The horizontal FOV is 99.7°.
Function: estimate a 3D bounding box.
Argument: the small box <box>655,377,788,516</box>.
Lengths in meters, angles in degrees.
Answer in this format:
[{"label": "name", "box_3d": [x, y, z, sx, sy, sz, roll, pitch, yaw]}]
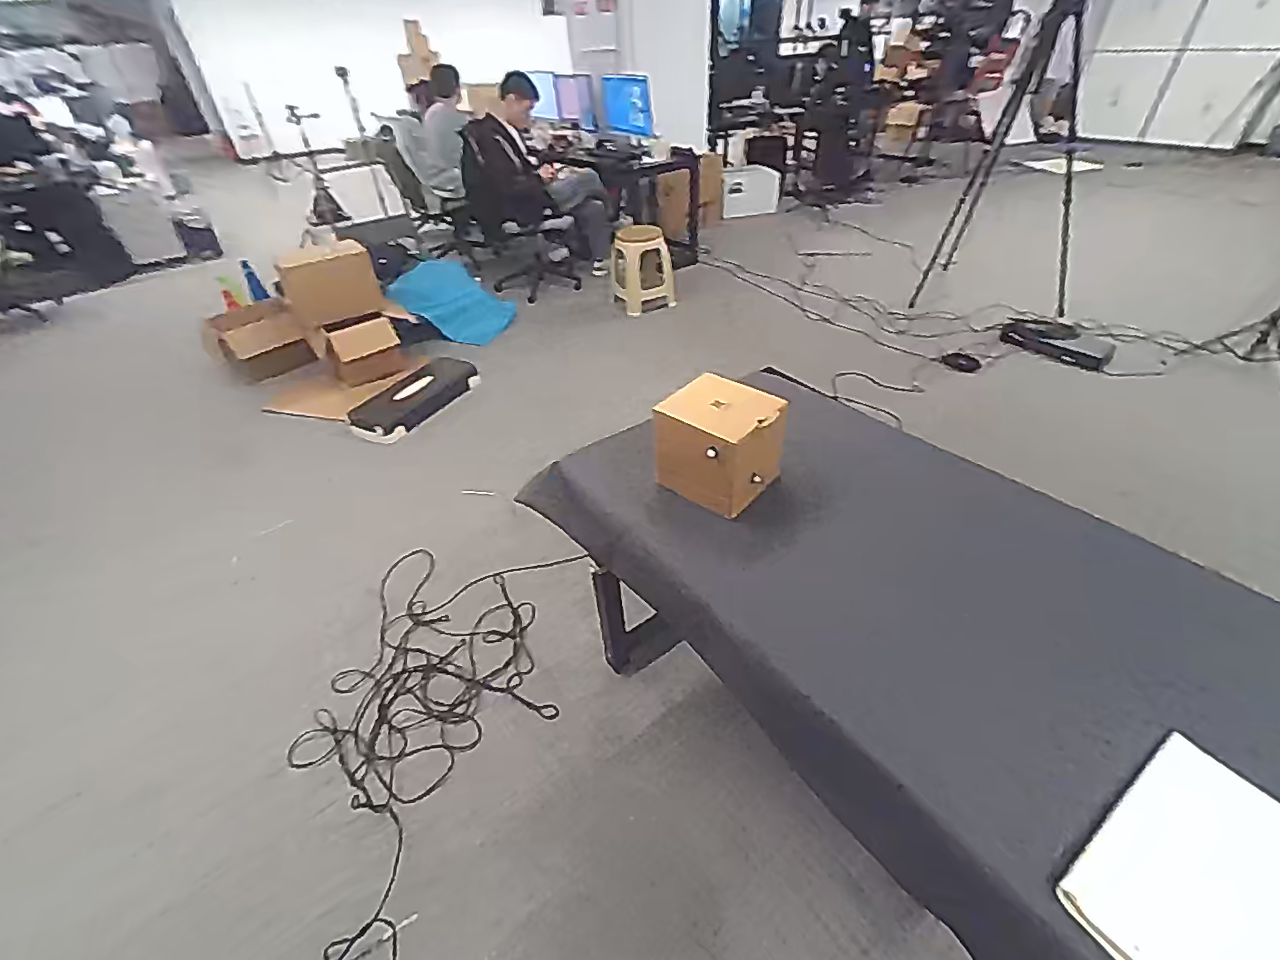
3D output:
[{"label": "small box", "box_3d": [0.143, -0.062, 0.985, 0.179, 0.176, 0.168, 27, 48, 32]}]
